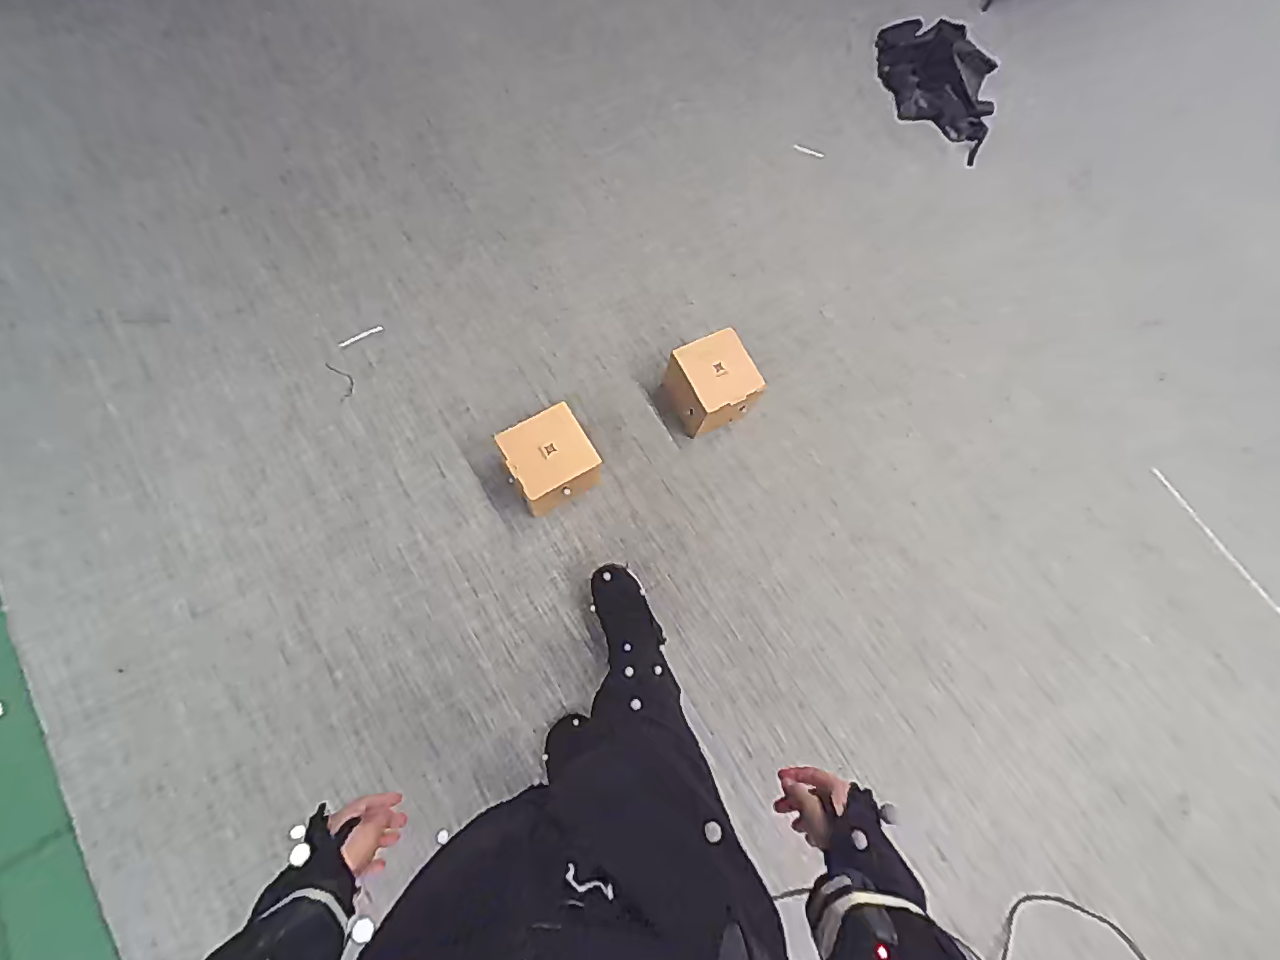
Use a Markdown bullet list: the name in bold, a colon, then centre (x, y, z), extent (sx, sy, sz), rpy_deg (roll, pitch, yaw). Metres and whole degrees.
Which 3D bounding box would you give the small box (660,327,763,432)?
- **small box**: centre (0.167, -0.234, 1.319), extent (0.168, 0.176, 0.179), rpy_deg (-25, 78, -14)

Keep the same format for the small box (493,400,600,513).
- **small box**: centre (-0.209, -0.047, 1.220), extent (0.179, 0.176, 0.168), rpy_deg (-30, 80, -13)
